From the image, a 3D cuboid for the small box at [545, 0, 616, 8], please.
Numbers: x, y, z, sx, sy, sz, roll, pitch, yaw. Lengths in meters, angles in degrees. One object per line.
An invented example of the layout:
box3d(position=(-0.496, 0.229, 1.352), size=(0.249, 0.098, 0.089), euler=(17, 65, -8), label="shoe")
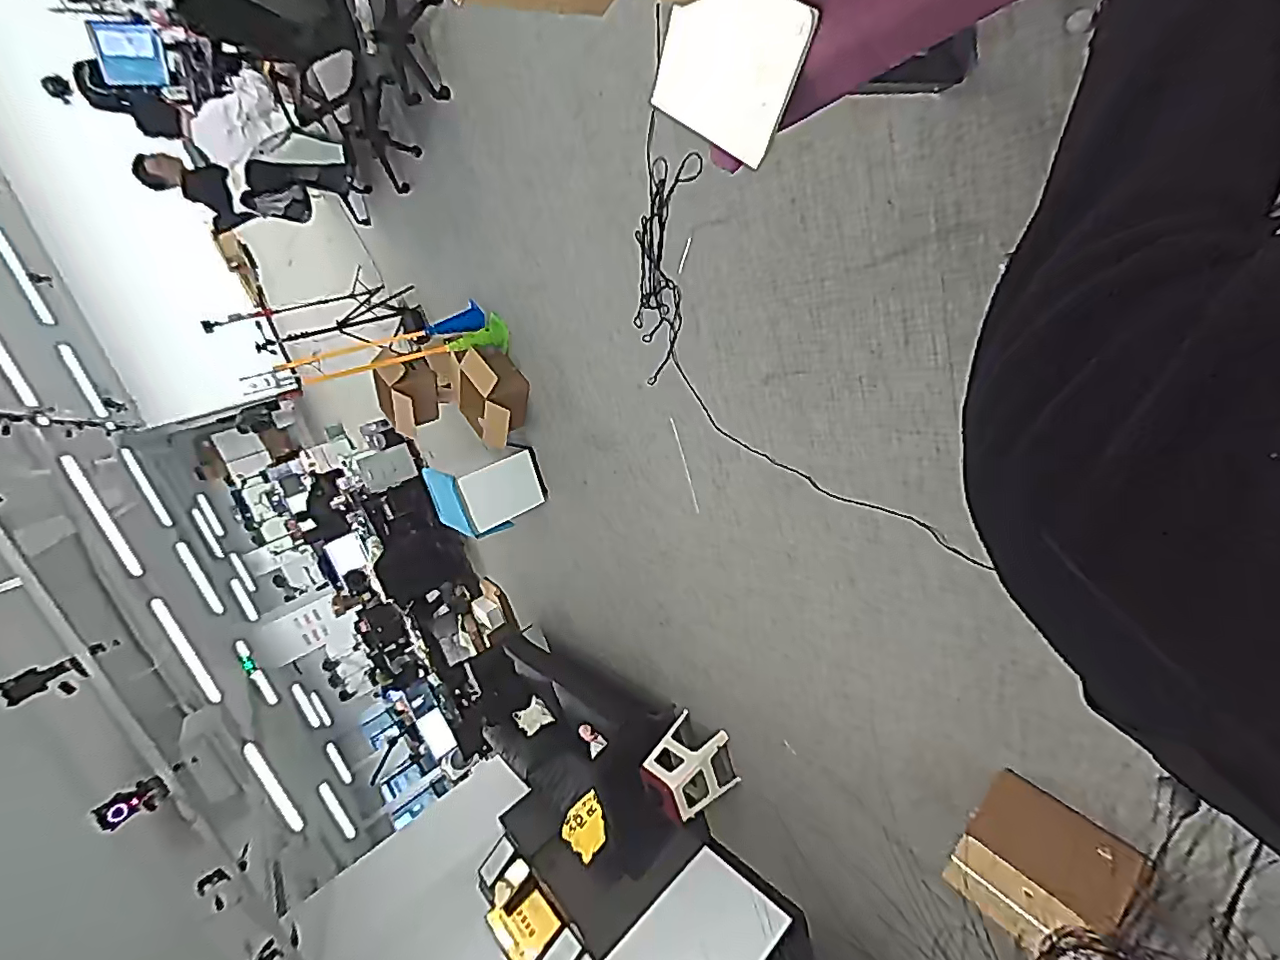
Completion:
box3d(position=(-0.081, -0.539, 0.443), size=(0.168, 0.176, 0.179), euler=(-4, 110, 56), label="small box")
